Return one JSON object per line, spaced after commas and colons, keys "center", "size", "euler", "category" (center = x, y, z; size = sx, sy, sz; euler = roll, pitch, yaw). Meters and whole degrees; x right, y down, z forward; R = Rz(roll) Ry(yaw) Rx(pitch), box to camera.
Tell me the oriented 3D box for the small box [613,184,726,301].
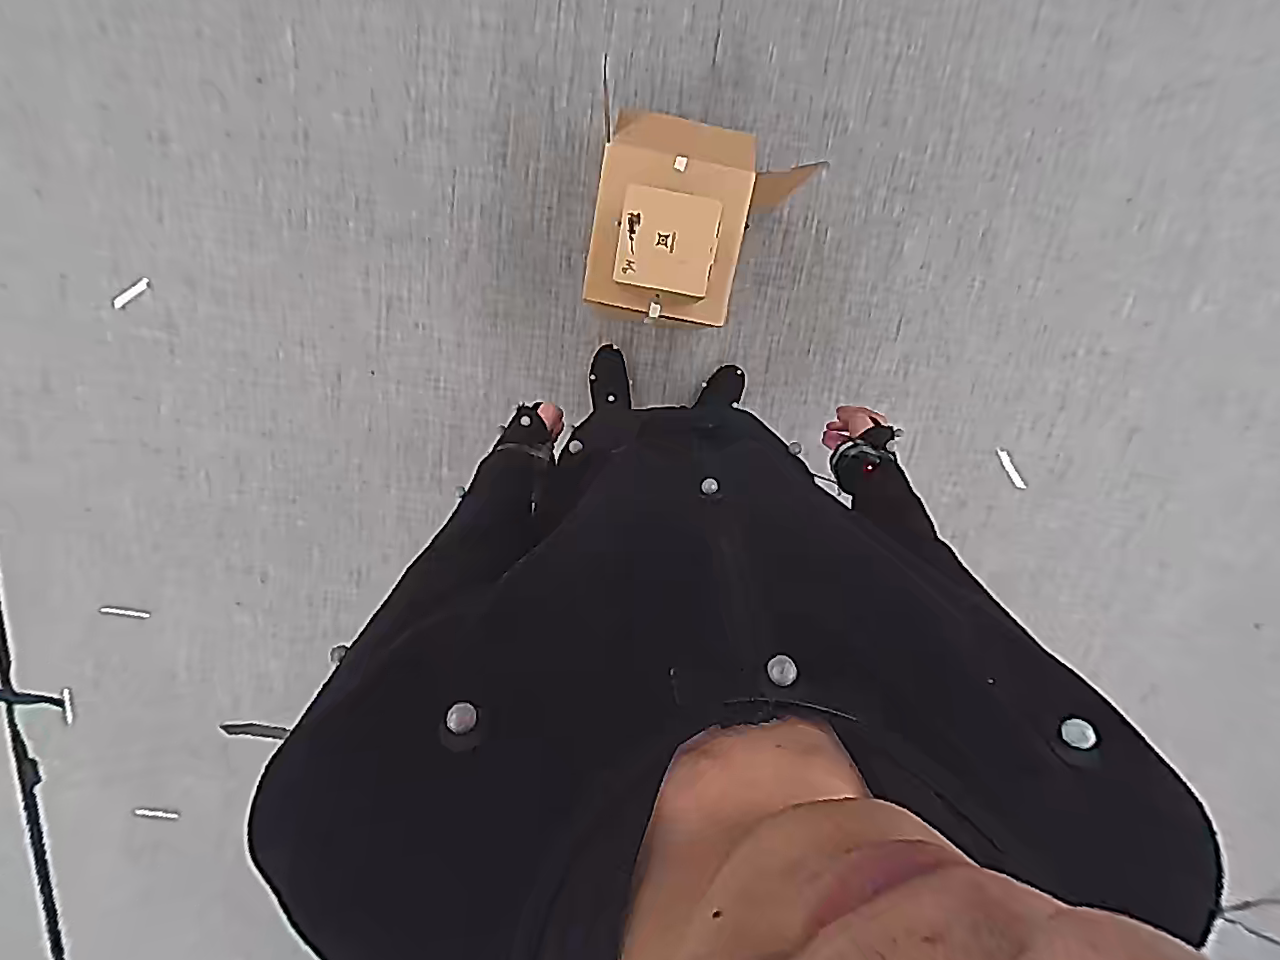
{"center": [0.050, -0.444, 1.037], "size": [0.179, 0.176, 0.168], "euler": [10, 105, -3], "category": "small box"}
